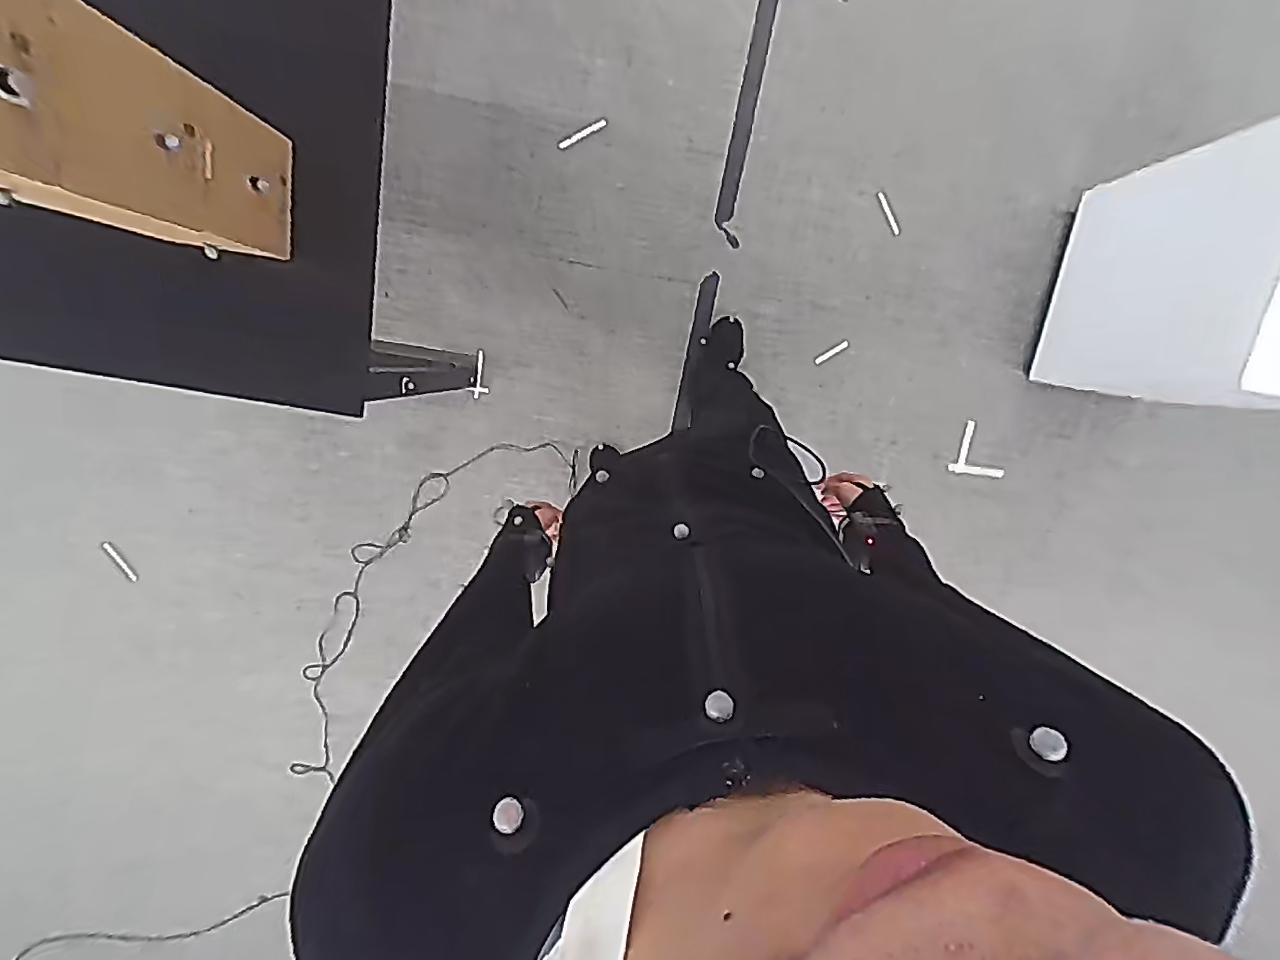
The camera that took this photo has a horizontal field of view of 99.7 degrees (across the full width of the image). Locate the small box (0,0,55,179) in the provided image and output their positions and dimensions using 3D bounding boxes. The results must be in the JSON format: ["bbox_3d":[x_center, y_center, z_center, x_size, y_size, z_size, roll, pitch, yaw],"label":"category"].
[{"bbox_3d":[-0.585,-0.333,0.377,0.179,0.176,0.168,8,102,-3],"label":"small box"}]

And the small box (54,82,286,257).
[{"bbox_3d":[-0.591,-0.397,0.698,0.179,0.176,0.168,8,101,-3],"label":"small box"}]

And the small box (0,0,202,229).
[{"bbox_3d":[-0.589,-0.365,0.537,0.179,0.176,0.168,8,102,-3],"label":"small box"}]
